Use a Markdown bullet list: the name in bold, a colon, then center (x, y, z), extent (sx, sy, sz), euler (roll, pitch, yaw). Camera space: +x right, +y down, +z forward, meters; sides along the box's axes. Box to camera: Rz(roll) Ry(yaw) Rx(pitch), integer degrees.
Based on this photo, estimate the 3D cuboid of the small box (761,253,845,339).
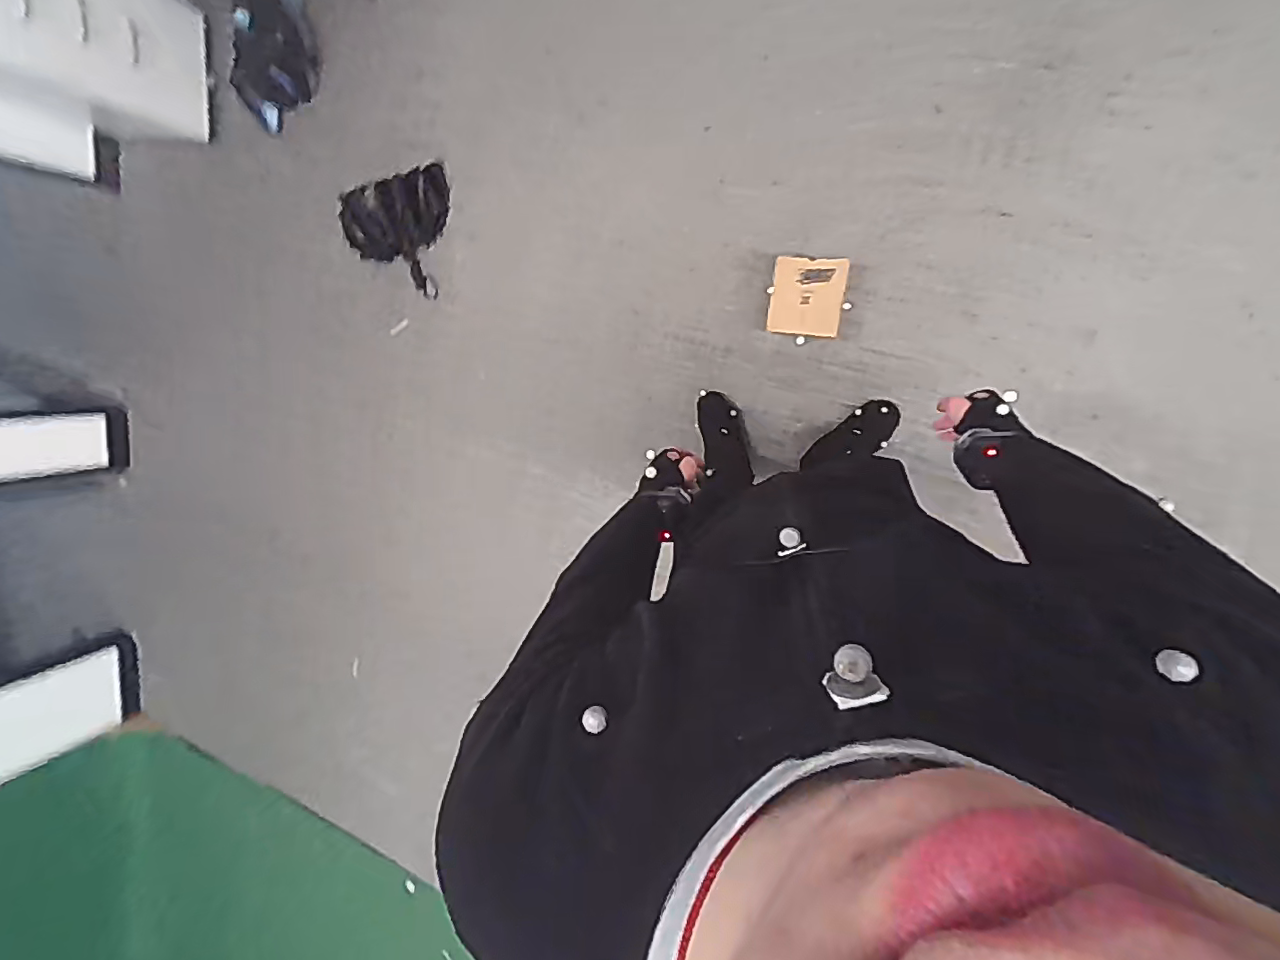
- **small box**: center (0.407, -0.454, 1.351), extent (0.168, 0.176, 0.179), euler (12, 105, 18)
